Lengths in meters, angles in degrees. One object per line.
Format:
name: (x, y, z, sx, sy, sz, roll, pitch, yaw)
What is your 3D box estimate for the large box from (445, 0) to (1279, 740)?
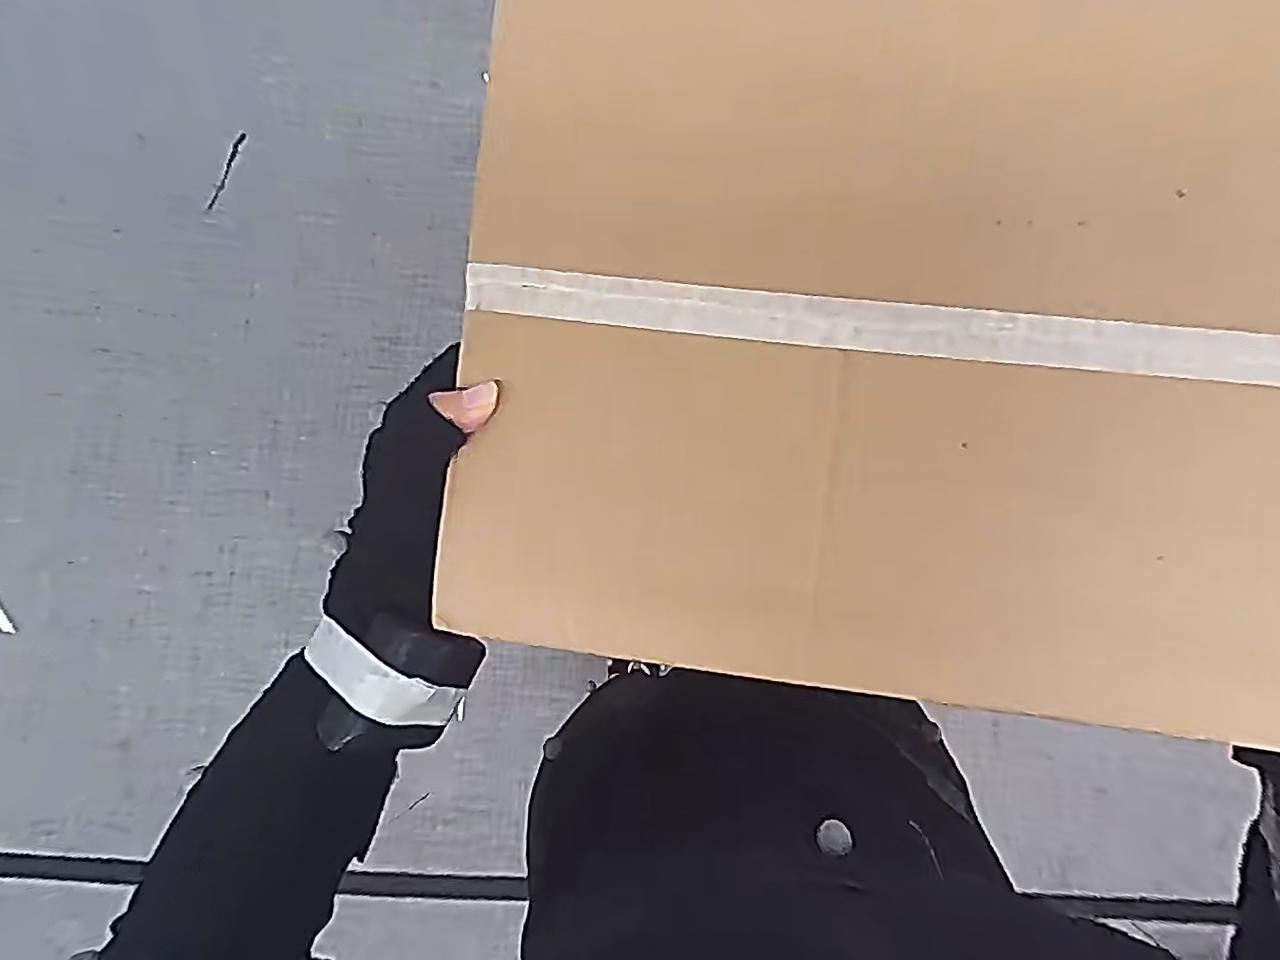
large box: (0.129, -0.060, 0.390, 0.408, 0.320, 0.320, 6, 90, 4)
